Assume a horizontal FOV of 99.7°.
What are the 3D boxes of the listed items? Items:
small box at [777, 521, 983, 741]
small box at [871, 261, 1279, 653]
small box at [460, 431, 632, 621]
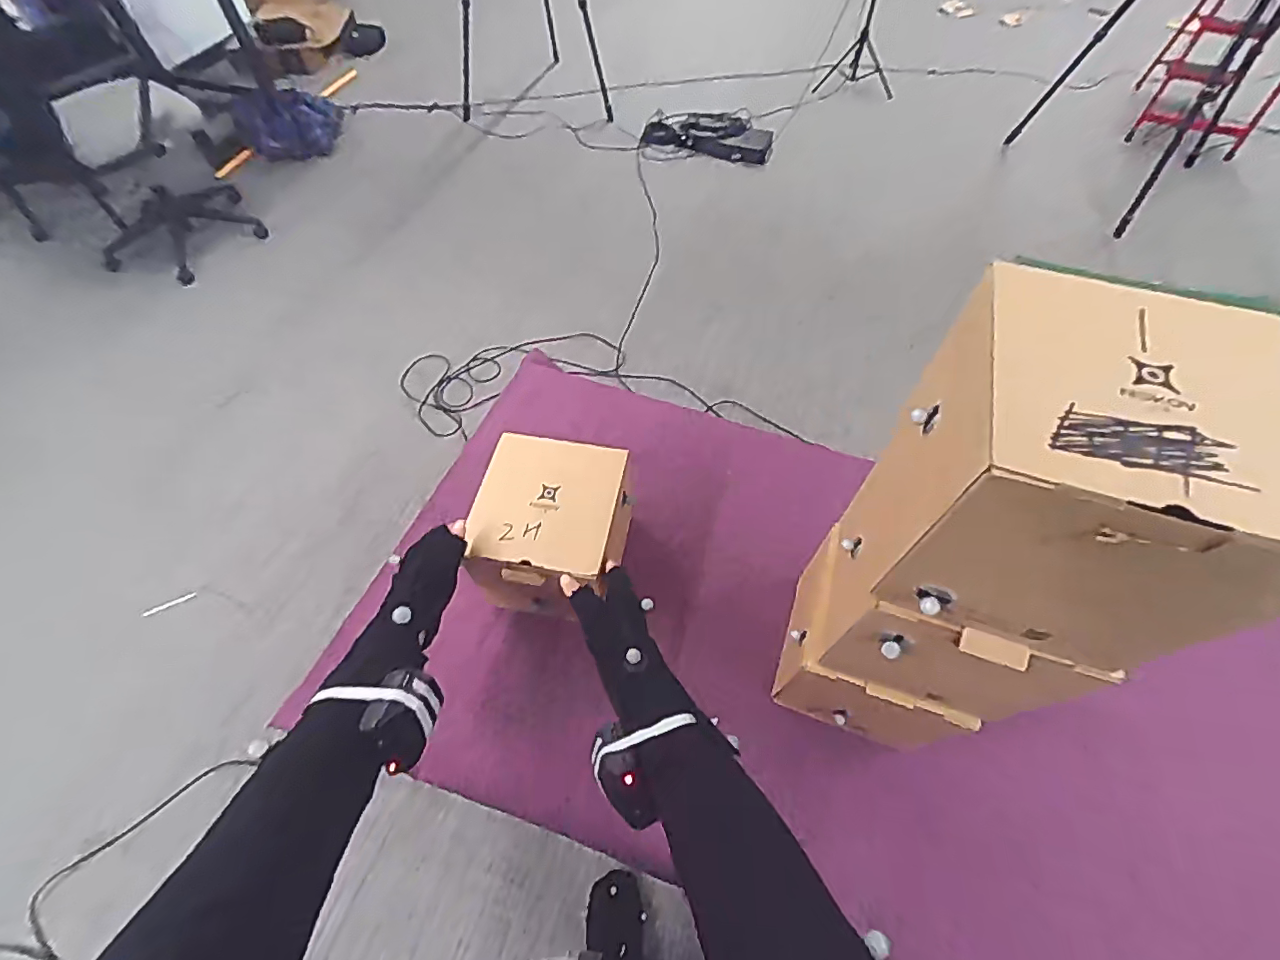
[{"bbox_3d":[0.269,0.180,0.630,0.168,0.176,0.179,17,60,12],"label":"small box"},{"bbox_3d":[0.269,-0.008,0.359,0.168,0.176,0.179,17,58,11],"label":"small box"},{"bbox_3d":[-0.107,0.064,0.708,0.168,0.176,0.179,9,59,7],"label":"small box"}]
